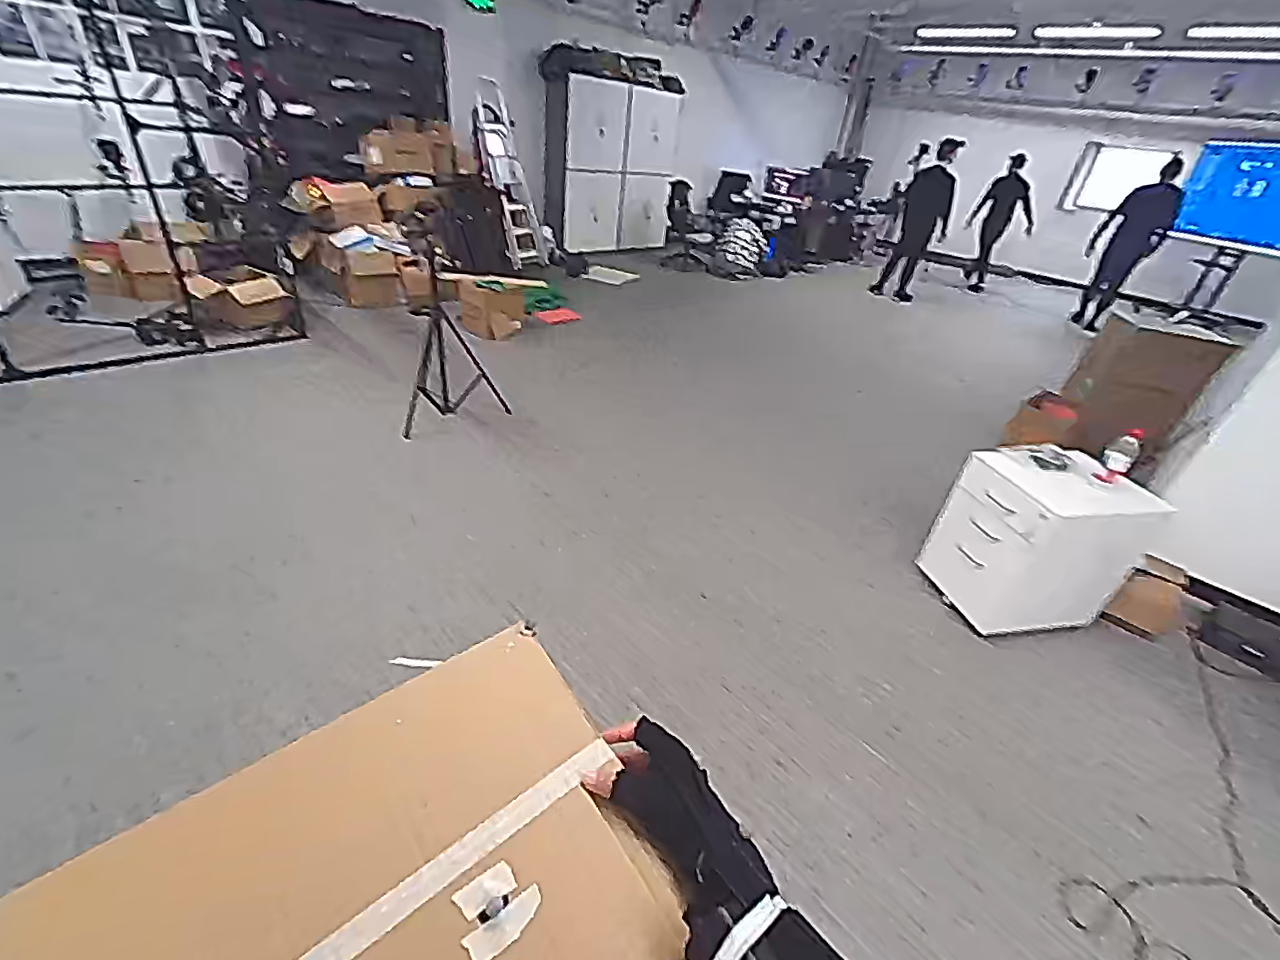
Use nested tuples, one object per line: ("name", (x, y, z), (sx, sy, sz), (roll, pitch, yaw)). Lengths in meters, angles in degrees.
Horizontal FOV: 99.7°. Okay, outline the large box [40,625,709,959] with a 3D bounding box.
("large box", (-0.209, 0.426, 0.519), (0.408, 0.320, 0.320), (-23, 56, -32))
